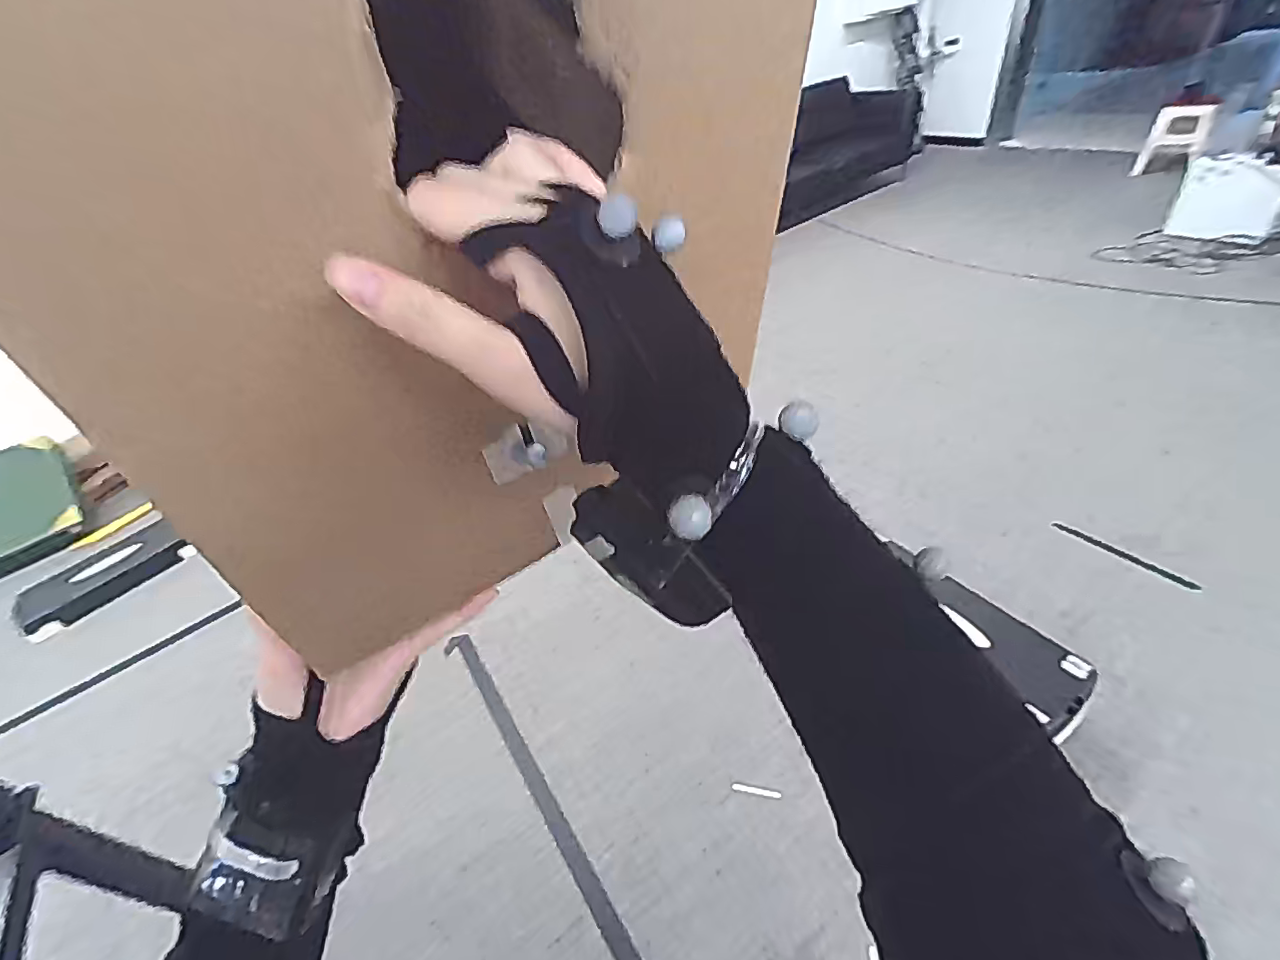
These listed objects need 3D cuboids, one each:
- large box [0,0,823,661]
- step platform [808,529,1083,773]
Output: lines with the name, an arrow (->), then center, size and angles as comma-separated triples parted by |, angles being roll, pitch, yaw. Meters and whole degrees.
large box -> -0.153, -0.176, 0.355 | 0.320, 0.320, 0.408 | -29, 50, -26
step platform -> 0.800, 0.427, 1.513 | 0.286, 0.204, 0.684 | -26, 41, -17
